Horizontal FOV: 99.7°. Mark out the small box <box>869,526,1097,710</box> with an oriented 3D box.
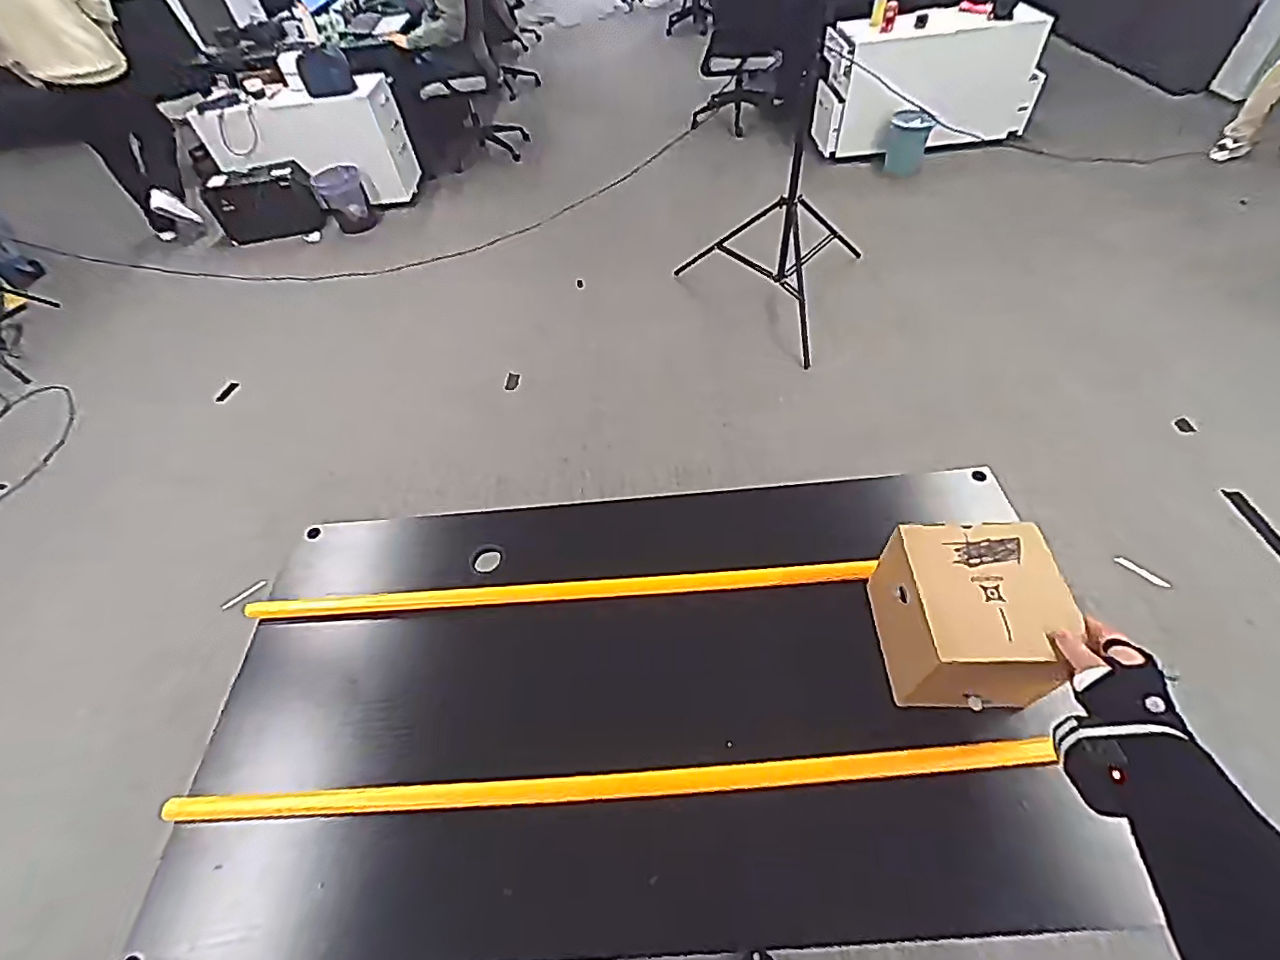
[{"bbox_3d":[0.407,0.175,0.685,0.168,0.176,0.179,-2,52,6],"label":"small box"}]
